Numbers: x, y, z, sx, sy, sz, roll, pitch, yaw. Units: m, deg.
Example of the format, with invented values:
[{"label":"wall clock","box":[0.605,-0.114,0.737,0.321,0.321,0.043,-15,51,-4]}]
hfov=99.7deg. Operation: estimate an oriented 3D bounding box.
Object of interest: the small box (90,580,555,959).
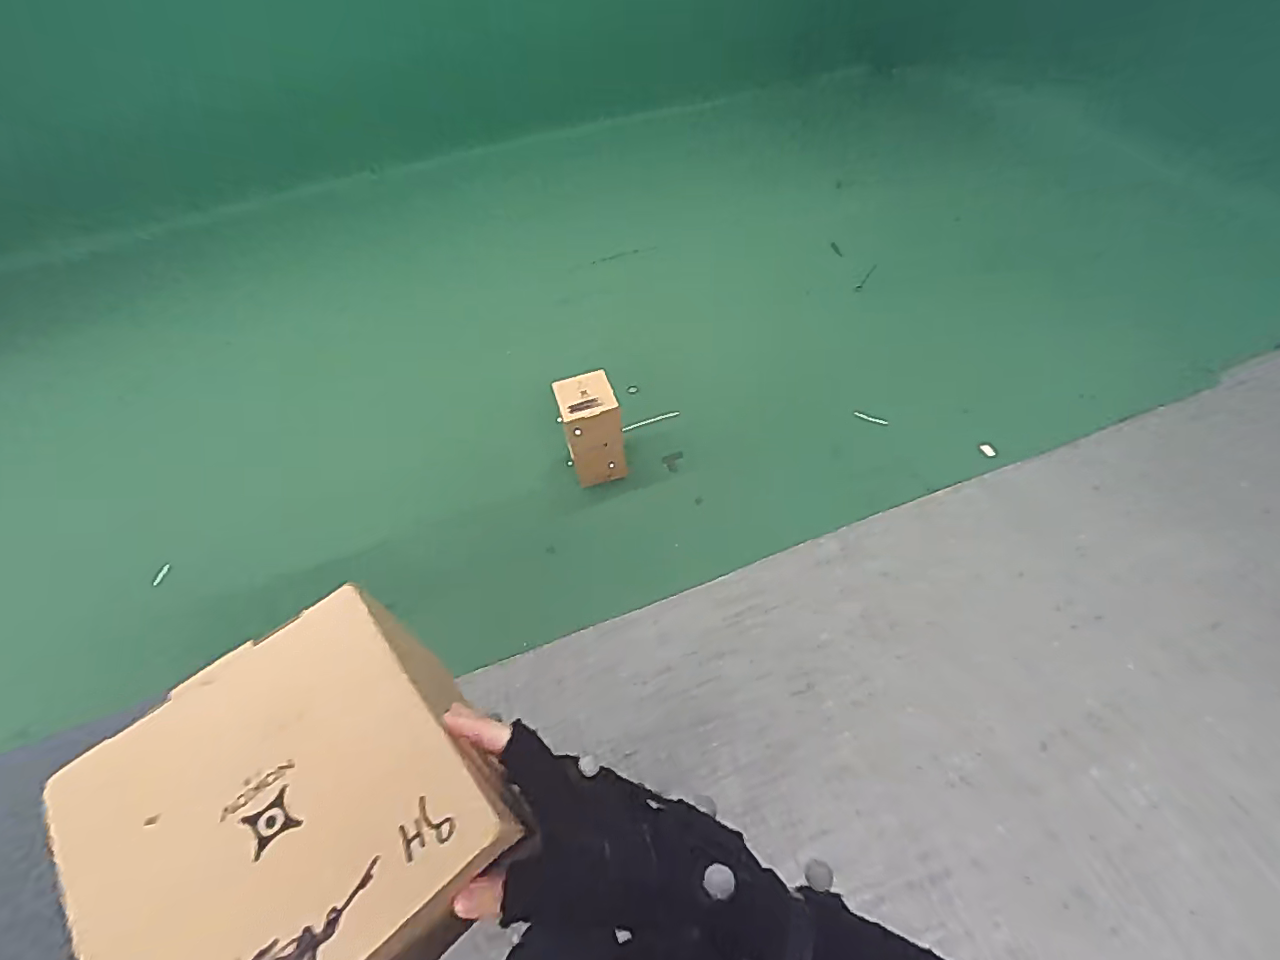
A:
[{"label":"small box","box":[-0.177,0.204,0.344,0.168,0.176,0.179,-36,61,-20]}]

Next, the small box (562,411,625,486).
[{"label":"small box","box":[-0.152,-0.098,1.806,0.168,0.176,0.179,-15,54,-6]}]
